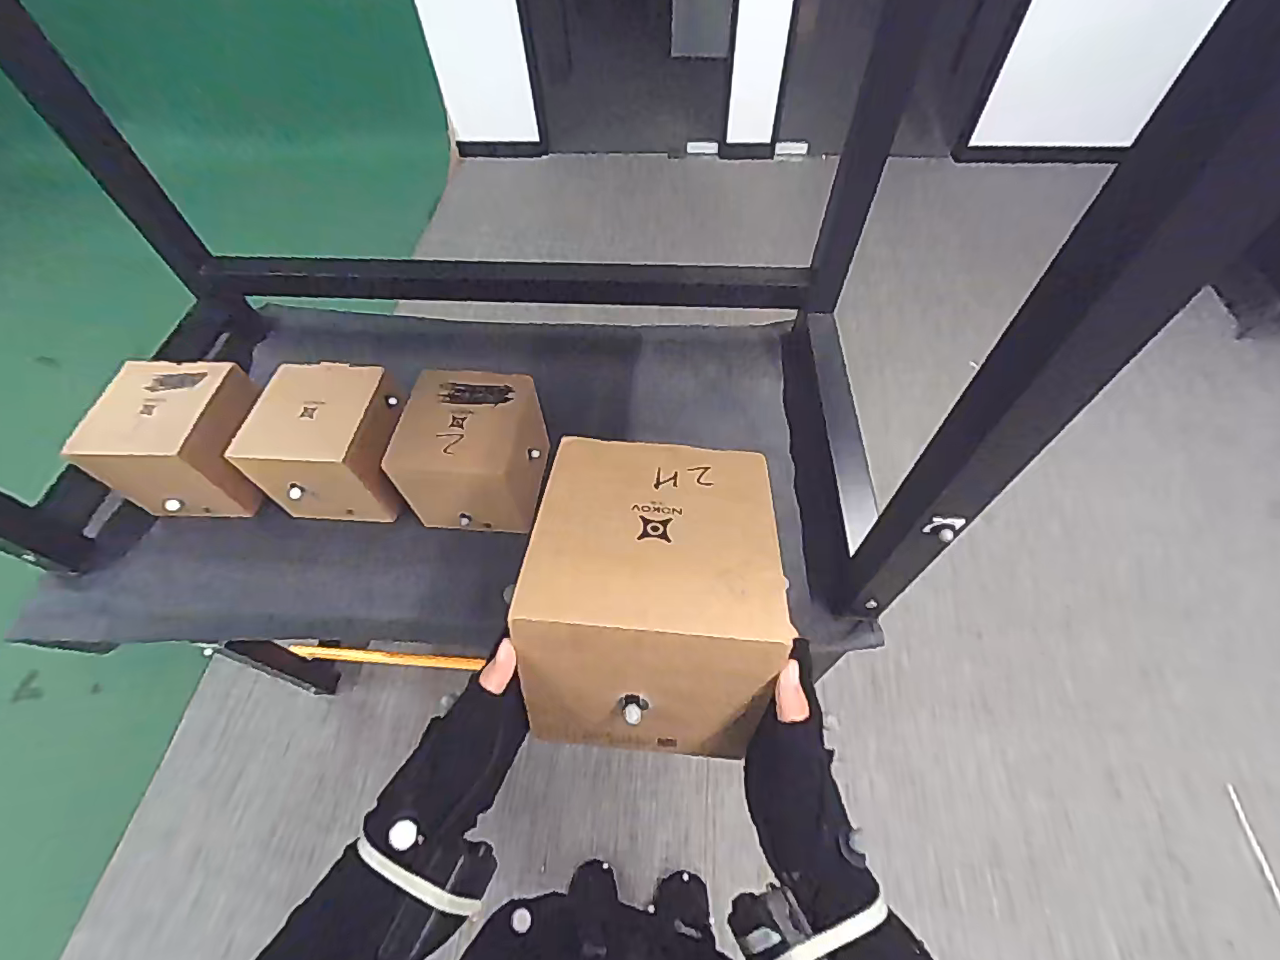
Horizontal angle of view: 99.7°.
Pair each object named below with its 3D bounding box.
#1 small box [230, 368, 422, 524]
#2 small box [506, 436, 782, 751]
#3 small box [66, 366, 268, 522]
[{"bbox_3d":[-0.456,-0.047,0.823,0.168,0.176,0.179,3,55,3],"label":"small box"},{"bbox_3d":[0.006,0.088,0.426,0.168,0.176,0.179,6,40,2],"label":"small box"},{"bbox_3d":[-0.683,-0.054,0.832,0.168,0.176,0.179,1,56,3],"label":"small box"}]
